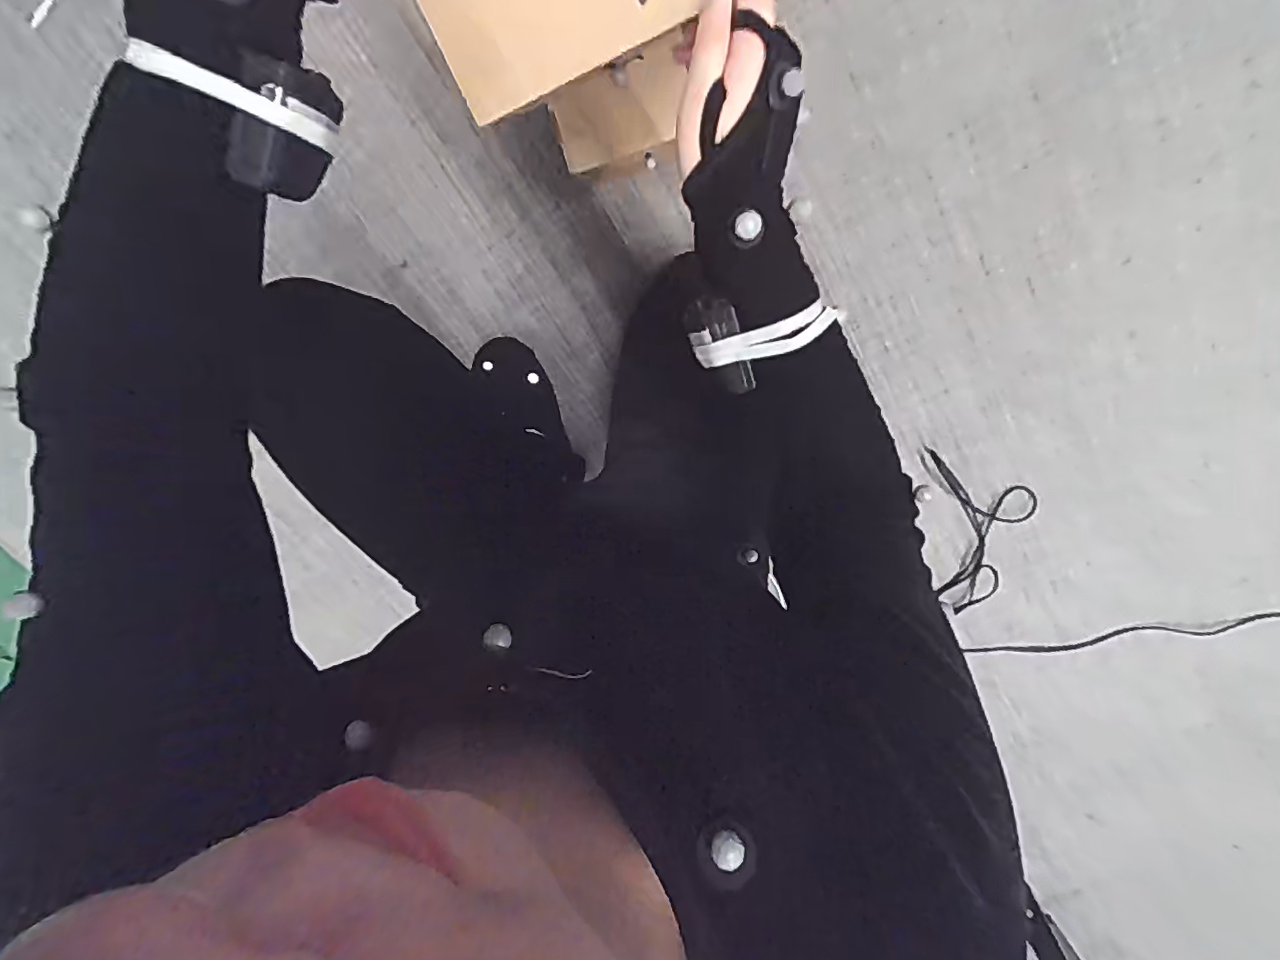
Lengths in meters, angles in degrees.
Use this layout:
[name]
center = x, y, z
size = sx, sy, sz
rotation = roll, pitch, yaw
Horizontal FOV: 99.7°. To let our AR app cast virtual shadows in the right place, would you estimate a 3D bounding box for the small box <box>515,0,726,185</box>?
[small box]
center = -0.010, -0.440, 0.594
size = 0.179, 0.176, 0.168
rotation = -13, 113, 10
